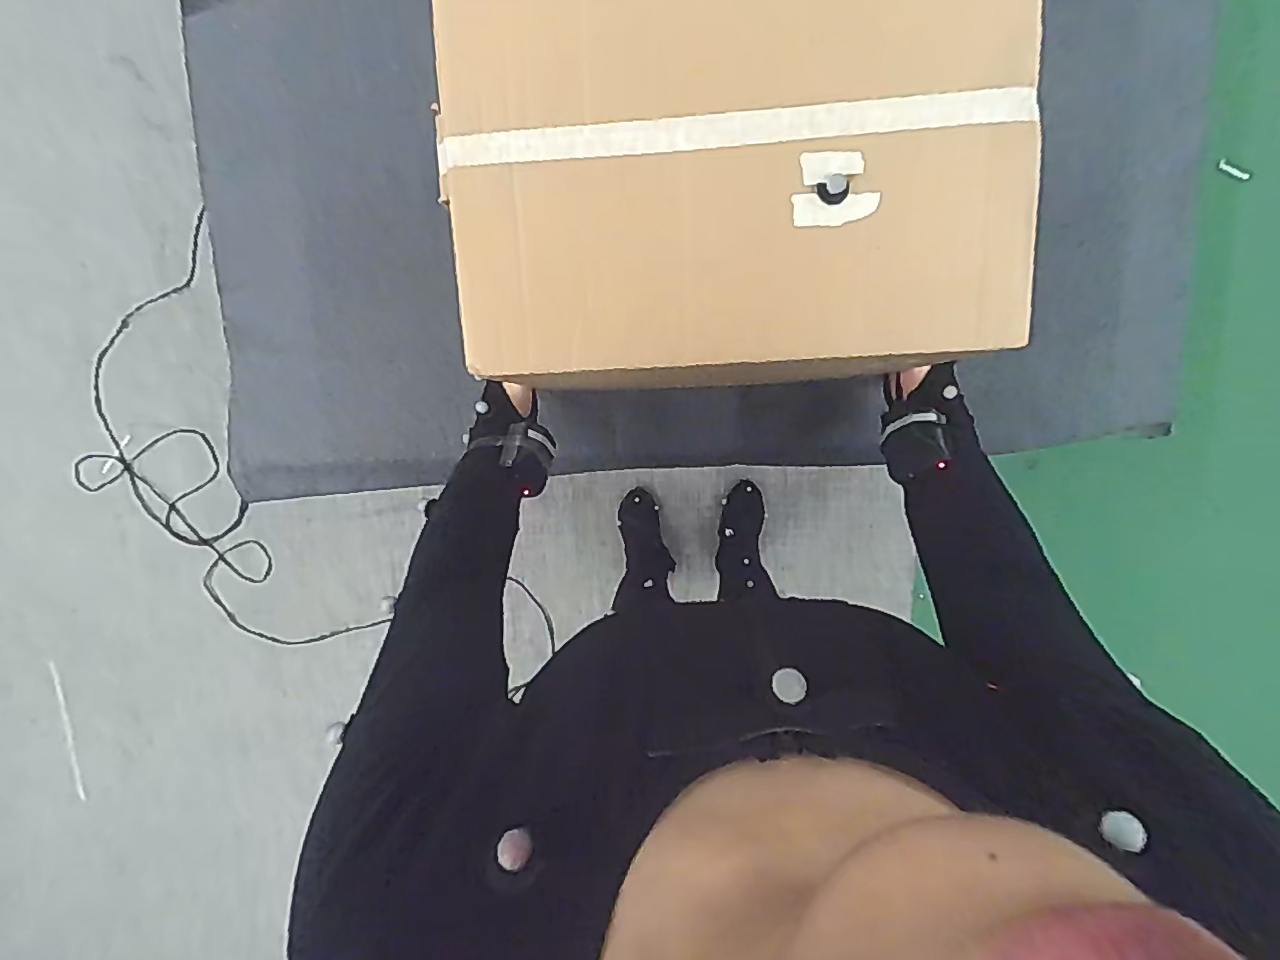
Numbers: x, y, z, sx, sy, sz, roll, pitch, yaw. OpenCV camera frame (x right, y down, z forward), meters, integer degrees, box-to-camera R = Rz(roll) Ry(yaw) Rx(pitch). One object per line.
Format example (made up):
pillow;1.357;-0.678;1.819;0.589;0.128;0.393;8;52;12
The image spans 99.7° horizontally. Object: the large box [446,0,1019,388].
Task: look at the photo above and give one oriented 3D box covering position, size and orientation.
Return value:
large box;0.070;-0.268;0.537;0.408;0.320;0.320;-3;97;3
